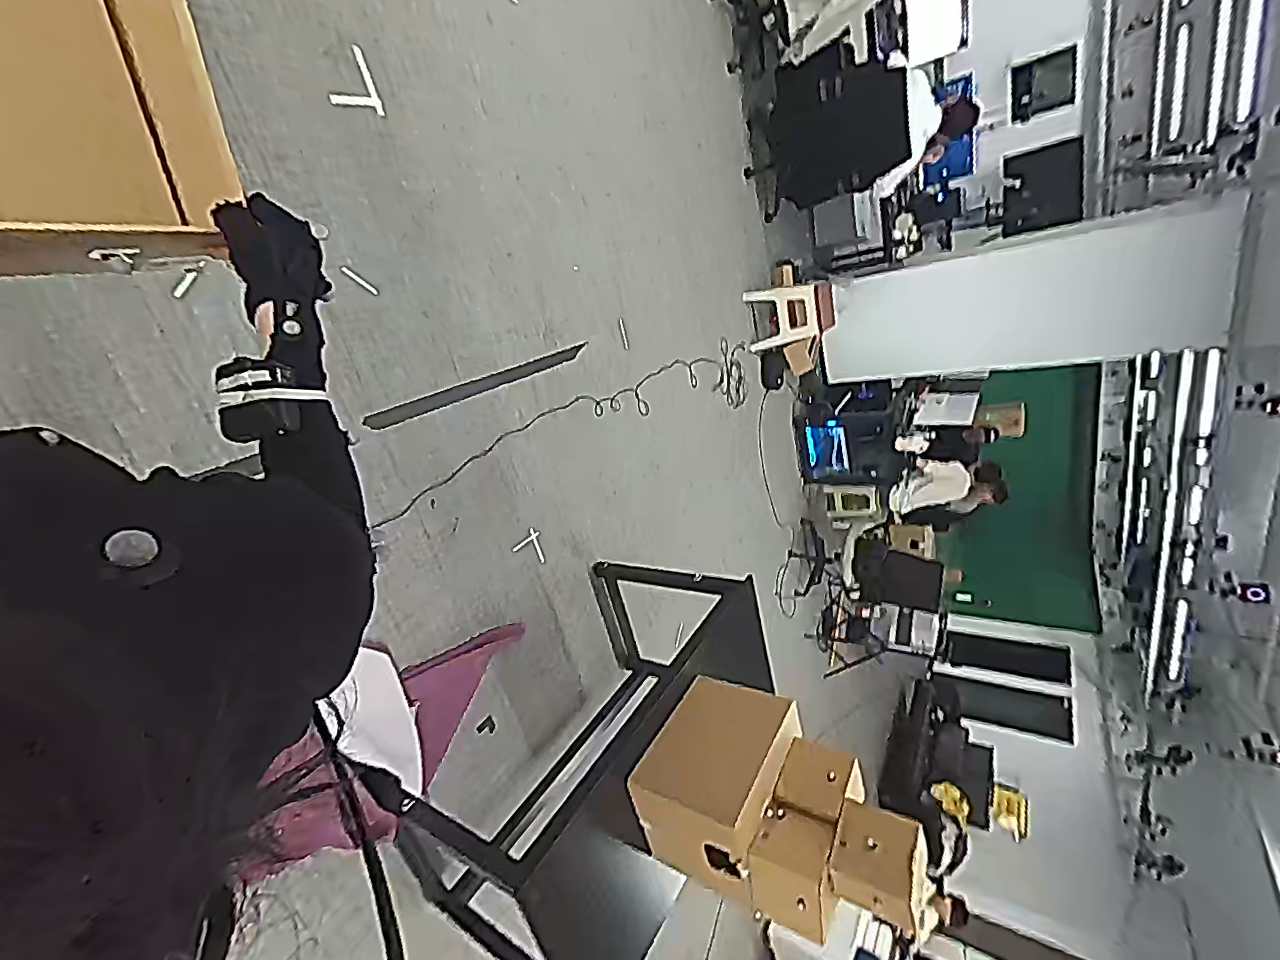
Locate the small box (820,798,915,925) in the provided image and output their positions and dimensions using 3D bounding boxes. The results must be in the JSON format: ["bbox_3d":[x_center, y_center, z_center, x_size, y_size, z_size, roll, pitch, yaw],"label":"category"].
[{"bbox_3d":[0.527,0.871,1.252,0.168,0.176,0.179,-53,130,-40],"label":"small box"}]

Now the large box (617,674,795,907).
[{"bbox_3d":[0.198,0.816,1.489,0.408,0.320,0.320,-39,121,-46],"label":"large box"}]

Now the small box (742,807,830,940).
[{"bbox_3d":[0.349,0.915,1.283,0.168,0.176,0.179,-23,111,-52],"label":"small box"}]
